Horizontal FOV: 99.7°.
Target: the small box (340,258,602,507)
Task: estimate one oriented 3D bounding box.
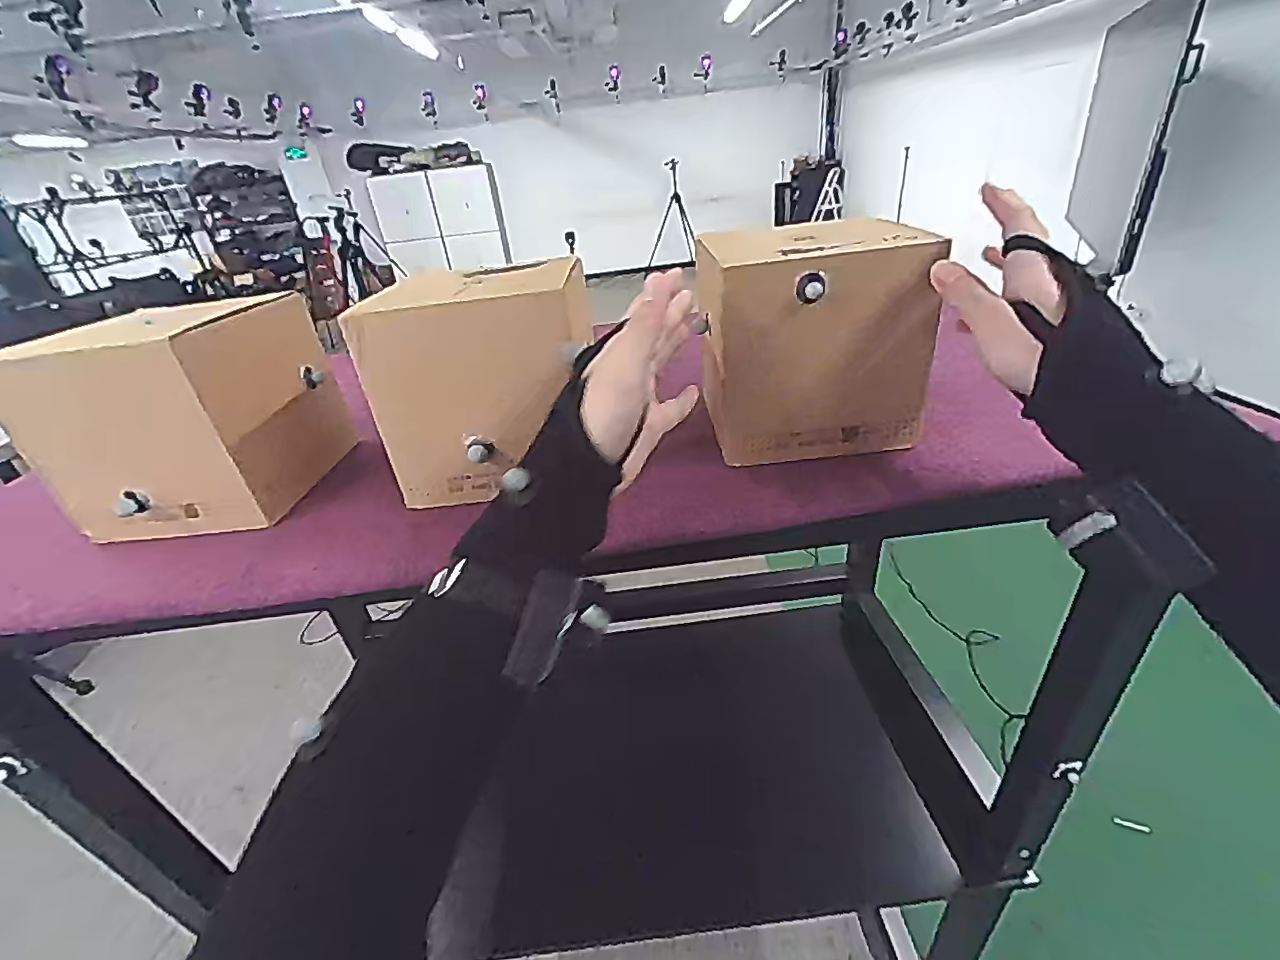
[{"bbox_3d":[-0.129,-0.094,0.494,0.168,0.176,0.179,-6,31,2],"label":"small box"}]

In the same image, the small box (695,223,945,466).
[{"bbox_3d":[0.143,-0.129,0.496,0.168,0.176,0.179,-7,30,3],"label":"small box"}]

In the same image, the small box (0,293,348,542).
[{"bbox_3d":[-0.404,-0.063,0.500,0.168,0.176,0.179,-6,30,4],"label":"small box"}]
